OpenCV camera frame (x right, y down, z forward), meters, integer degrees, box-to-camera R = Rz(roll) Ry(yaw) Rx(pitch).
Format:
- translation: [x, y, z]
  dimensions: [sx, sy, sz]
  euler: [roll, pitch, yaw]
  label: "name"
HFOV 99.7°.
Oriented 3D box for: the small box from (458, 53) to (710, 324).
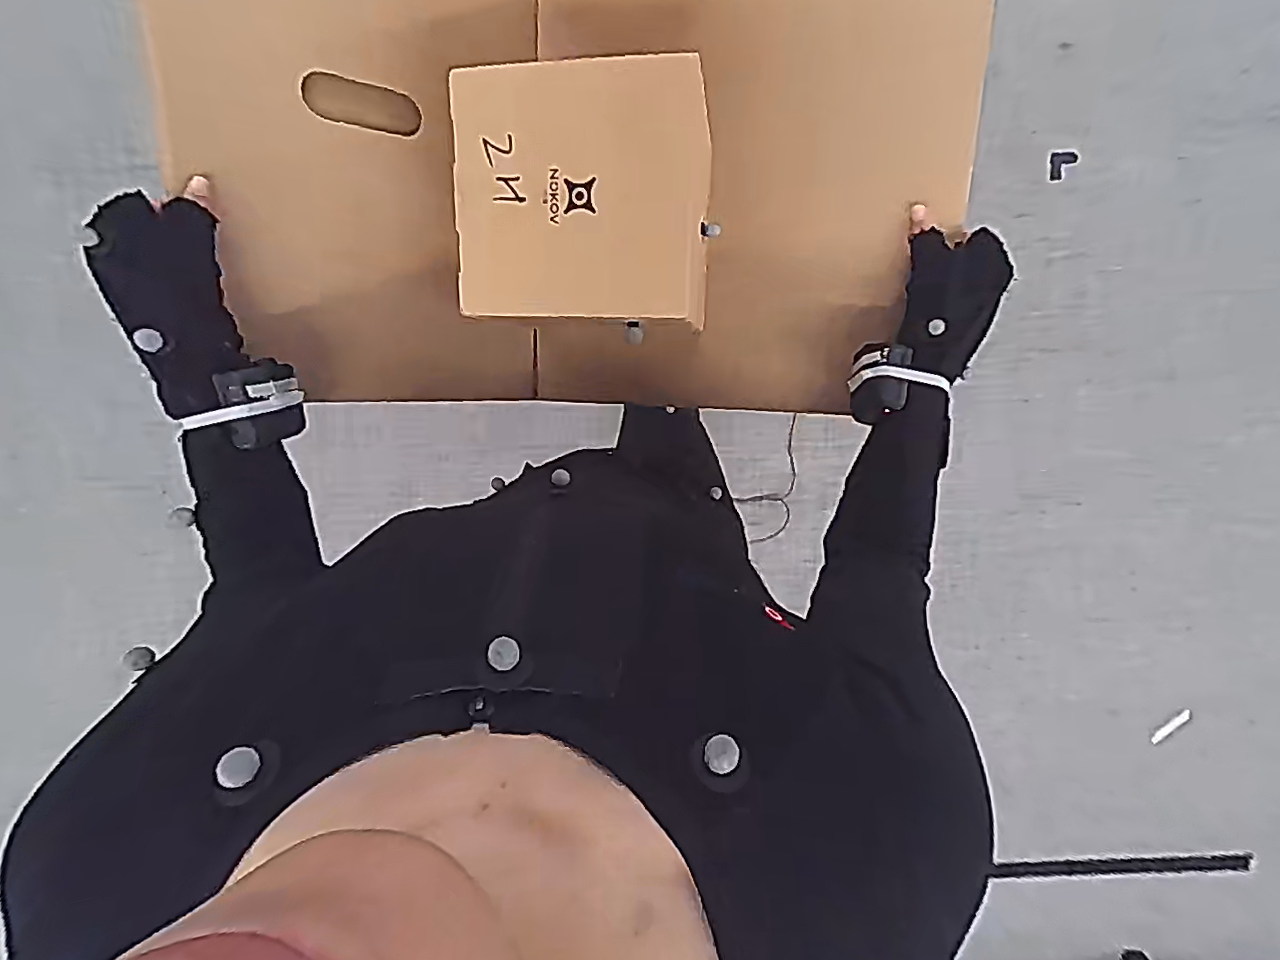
- translation: [-0.034, -0.228, 0.465]
  dimensions: [0.179, 0.176, 0.168]
  euler: [4, 102, 10]
  label: "small box"
